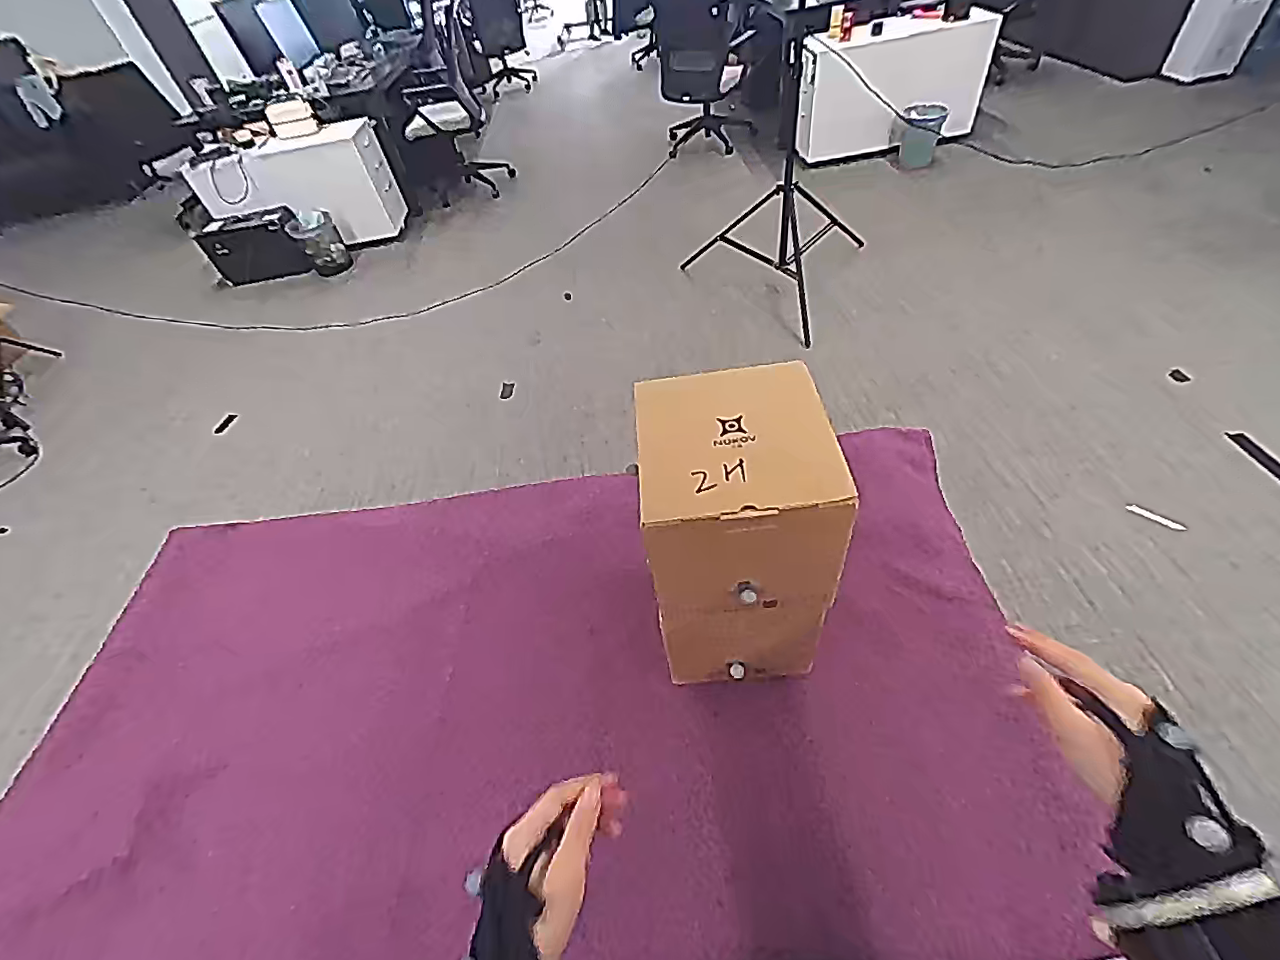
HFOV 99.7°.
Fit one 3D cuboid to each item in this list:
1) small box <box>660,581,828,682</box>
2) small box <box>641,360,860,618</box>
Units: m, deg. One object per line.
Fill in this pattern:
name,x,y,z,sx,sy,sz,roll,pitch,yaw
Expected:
small box,0.111,0.120,0.645,0.168,0.176,0.179,-6,49,5
small box,0.092,0.011,0.522,0.168,0.176,0.179,-7,48,5
